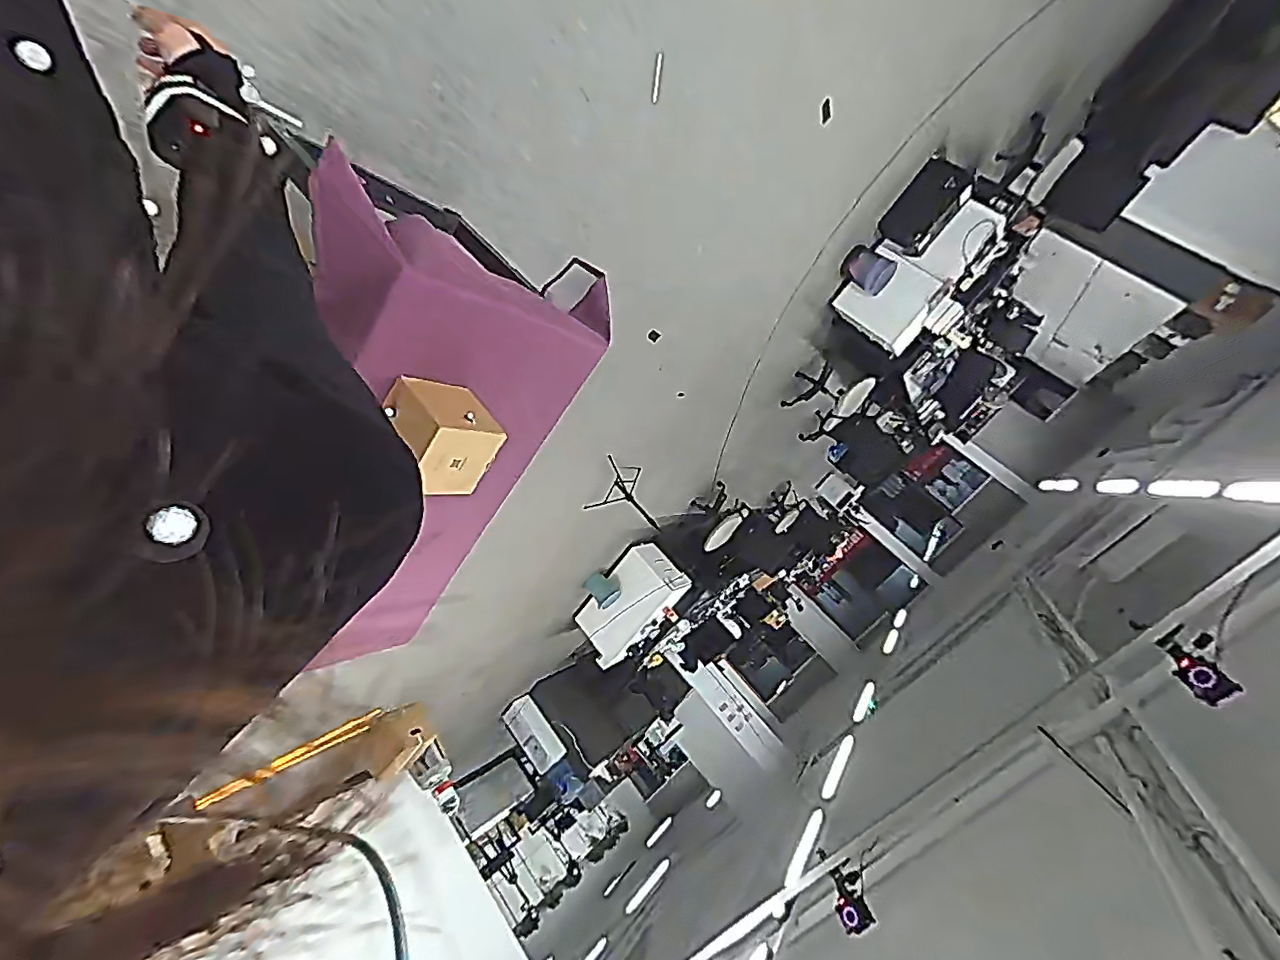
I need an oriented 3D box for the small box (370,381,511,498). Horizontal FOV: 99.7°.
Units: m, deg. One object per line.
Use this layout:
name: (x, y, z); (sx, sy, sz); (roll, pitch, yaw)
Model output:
small box: (-0.407, -0.081, 1.101); (0.168, 0.176, 0.179); (-52, 156, 19)
